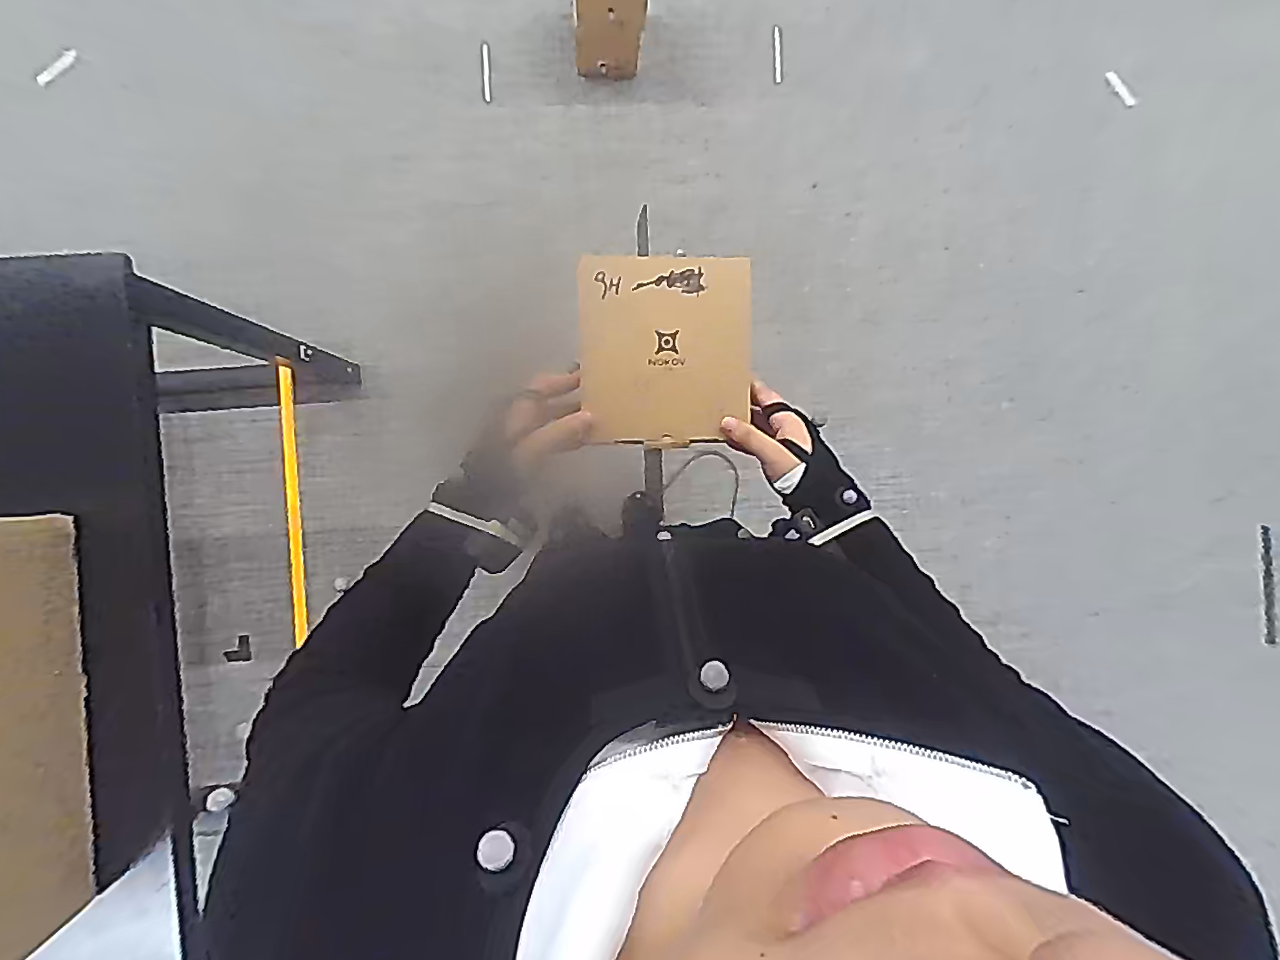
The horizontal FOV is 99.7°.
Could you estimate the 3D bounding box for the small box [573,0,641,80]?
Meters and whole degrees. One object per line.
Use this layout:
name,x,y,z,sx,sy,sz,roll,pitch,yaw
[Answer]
small box,-0.087,-1.178,1.390,0.168,0.176,0.179,-3,92,-3

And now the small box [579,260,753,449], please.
small box,0.020,-0.128,0.593,0.168,0.176,0.179,-2,96,-5

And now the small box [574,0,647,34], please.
small box,-0.069,-1.166,1.225,0.168,0.176,0.179,-2,91,-3
